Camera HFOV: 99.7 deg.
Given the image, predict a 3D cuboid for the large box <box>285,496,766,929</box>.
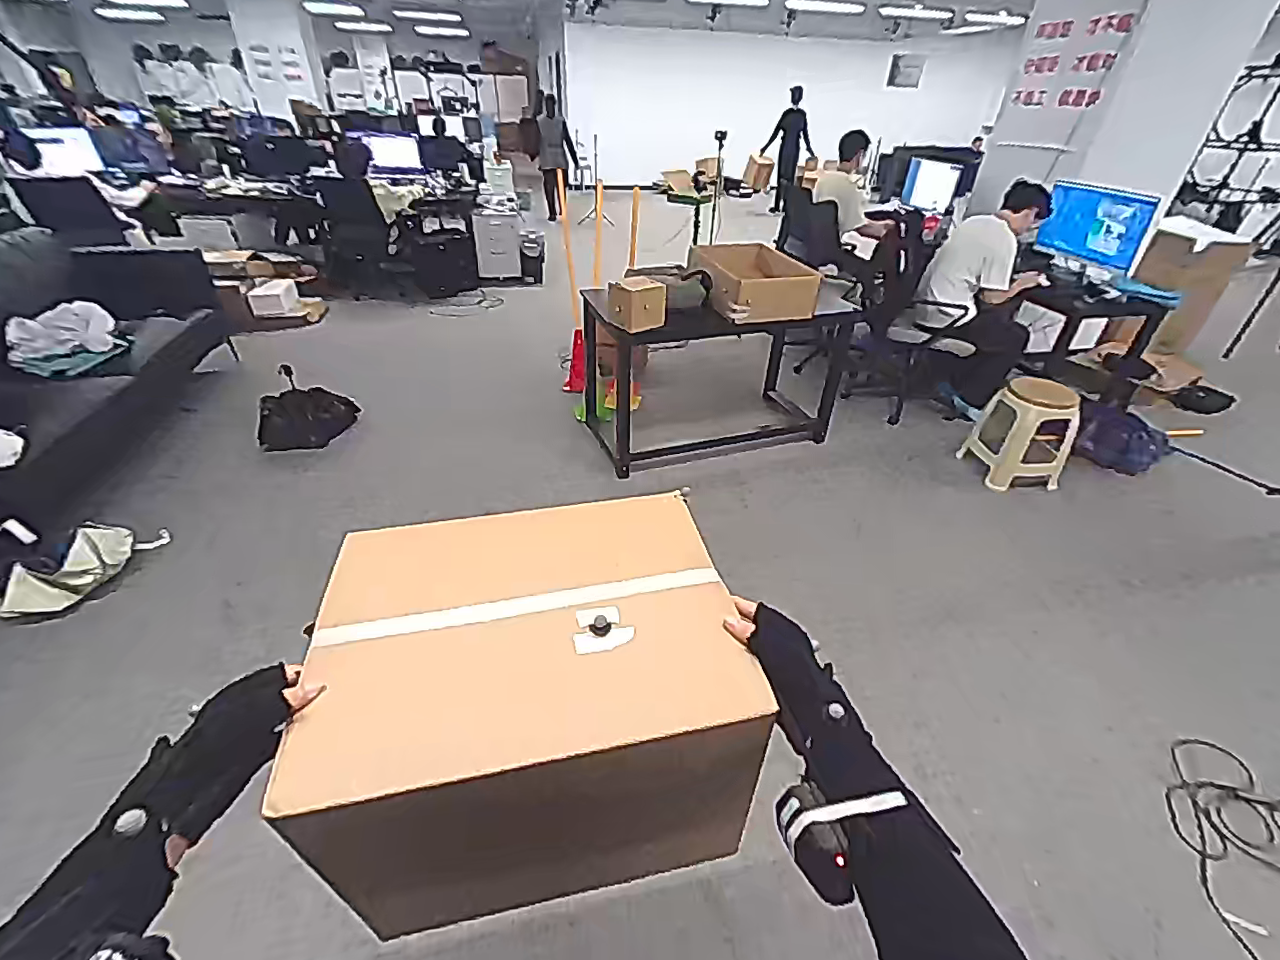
[{"bbox_3d":[-0.114,0.253,0.647,0.408,0.320,0.320,-7,38,-11],"label":"large box"}]
